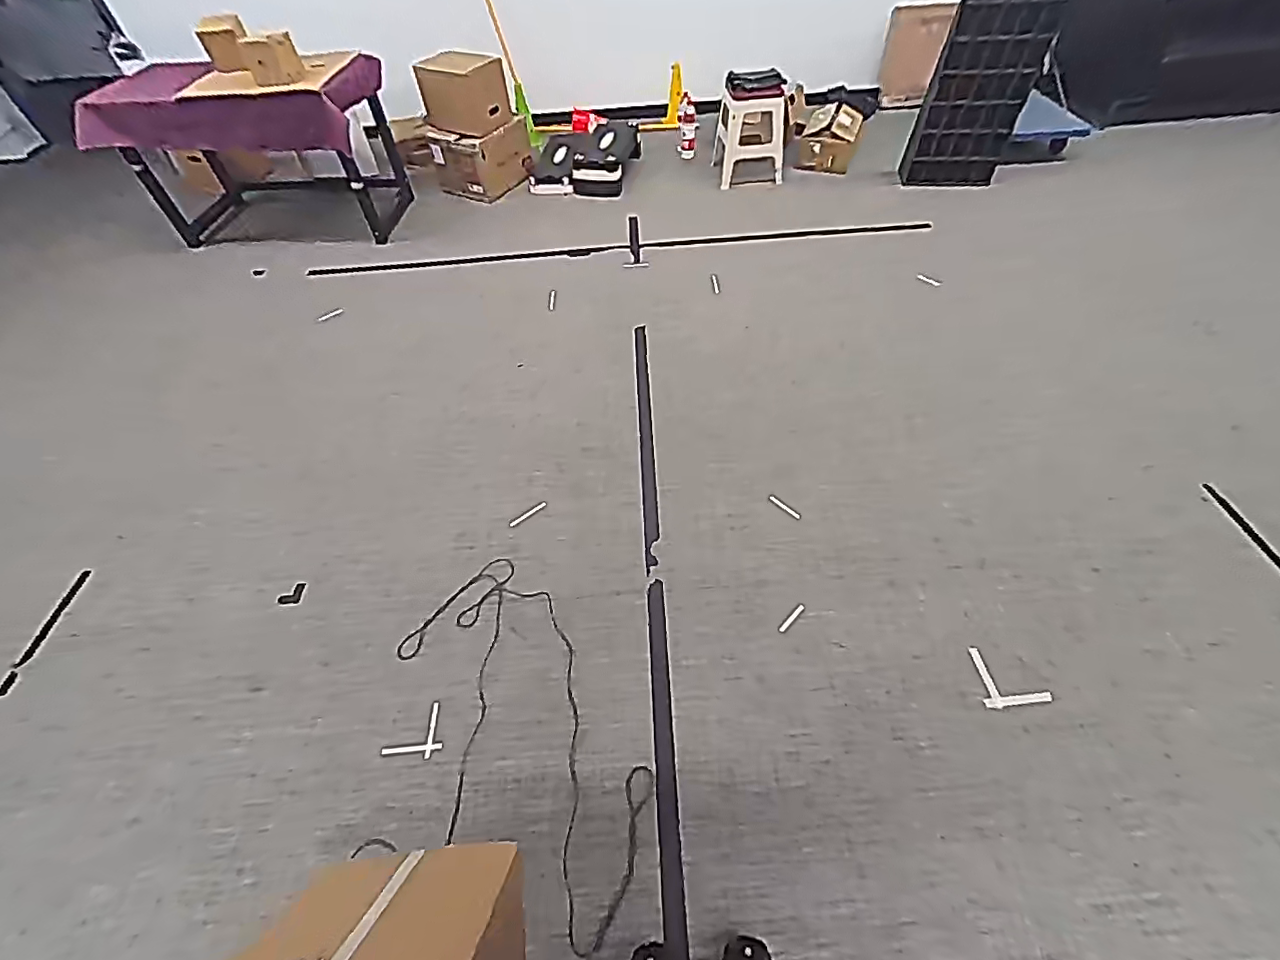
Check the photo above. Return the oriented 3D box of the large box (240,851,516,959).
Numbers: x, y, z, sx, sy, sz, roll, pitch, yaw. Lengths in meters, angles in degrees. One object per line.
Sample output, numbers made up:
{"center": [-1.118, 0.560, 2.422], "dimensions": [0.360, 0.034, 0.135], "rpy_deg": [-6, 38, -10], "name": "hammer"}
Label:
{"center": [-0.337, 0.733, 0.653], "dimensions": [0.320, 0.408, 0.320], "rpy_deg": [-6, 83, -2], "name": "large box"}
